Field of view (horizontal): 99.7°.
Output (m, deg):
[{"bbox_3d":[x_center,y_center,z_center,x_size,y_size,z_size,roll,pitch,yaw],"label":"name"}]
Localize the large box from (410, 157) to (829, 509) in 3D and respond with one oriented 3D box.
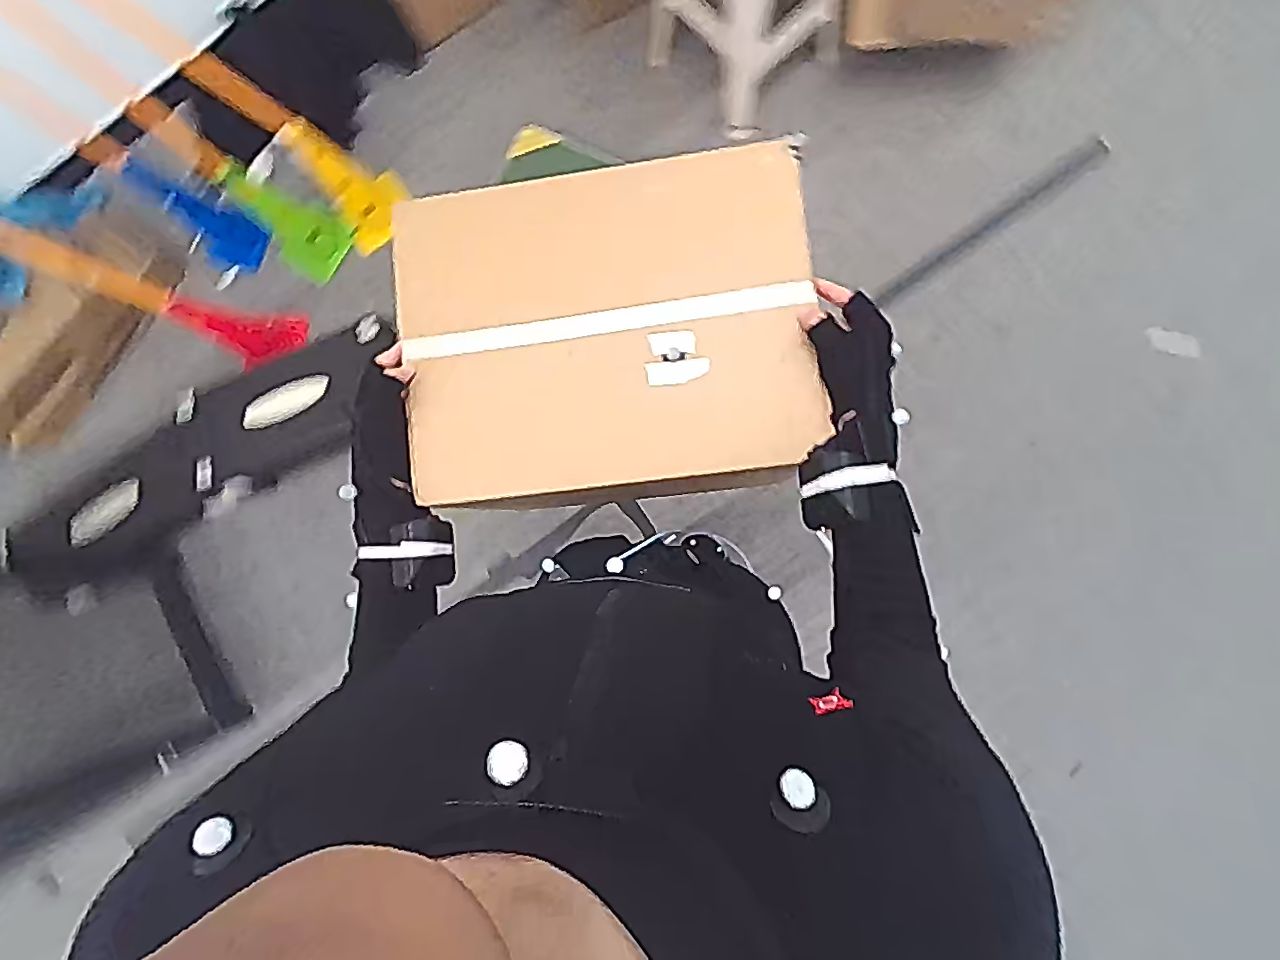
[{"bbox_3d":[-0.019,-0.137,0.684,0.408,0.320,0.320,-5,86,5],"label":"large box"}]
